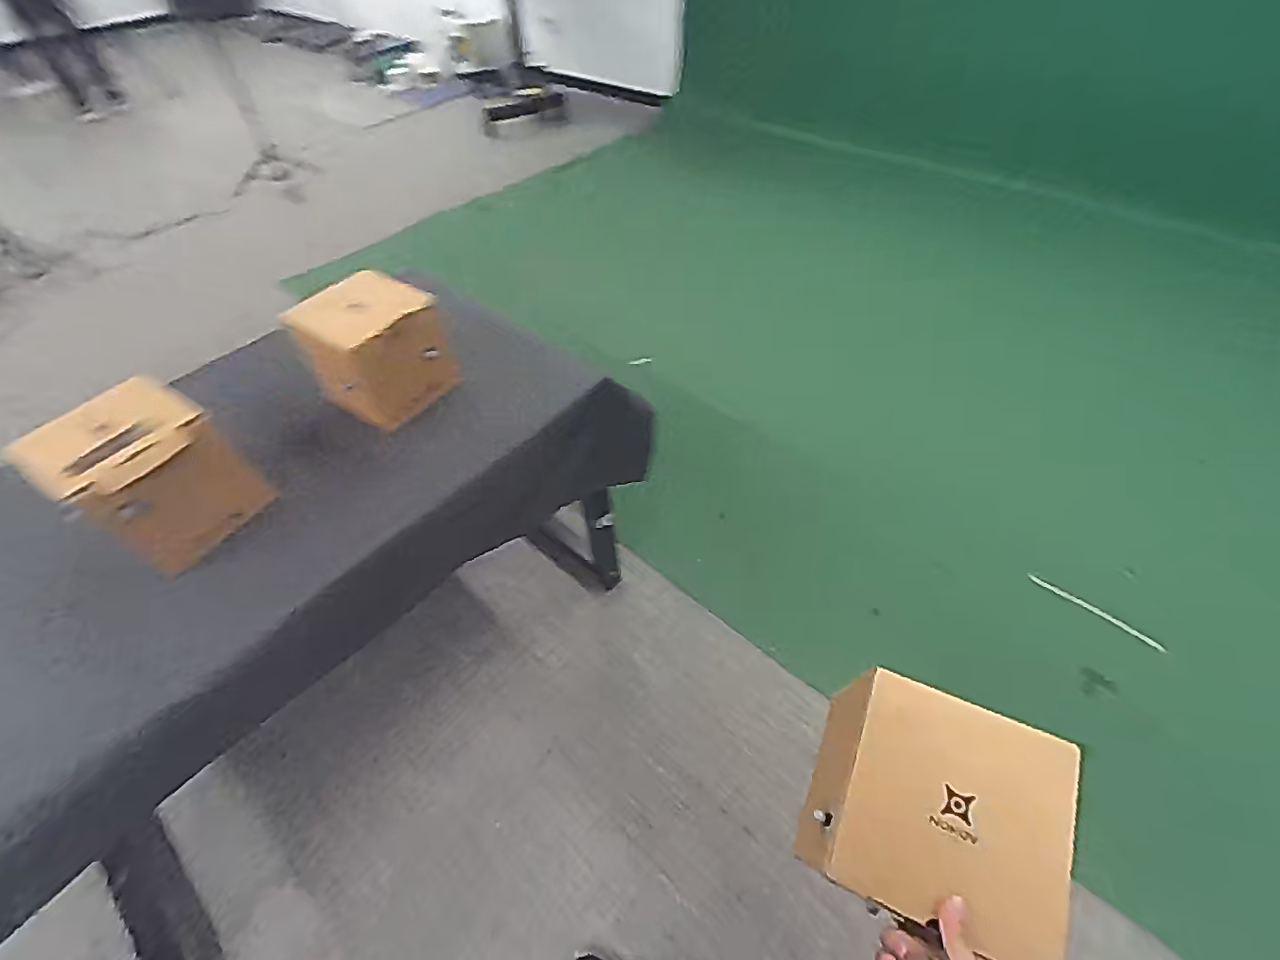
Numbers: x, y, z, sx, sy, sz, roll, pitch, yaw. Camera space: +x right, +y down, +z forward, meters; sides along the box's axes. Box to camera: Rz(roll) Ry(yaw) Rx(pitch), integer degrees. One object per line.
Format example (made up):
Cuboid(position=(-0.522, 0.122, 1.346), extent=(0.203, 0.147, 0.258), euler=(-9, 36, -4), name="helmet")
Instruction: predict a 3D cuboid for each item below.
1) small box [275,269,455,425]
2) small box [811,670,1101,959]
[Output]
Cuboid(position=(-0.441, -0.216, 0.896), extent=(0.179, 0.176, 0.168), euler=(25, 54, 23), name="small box")
Cuboid(position=(0.268, 0.302, 0.491), extent=(0.168, 0.176, 0.179), euler=(20, 66, 17), name="small box")
